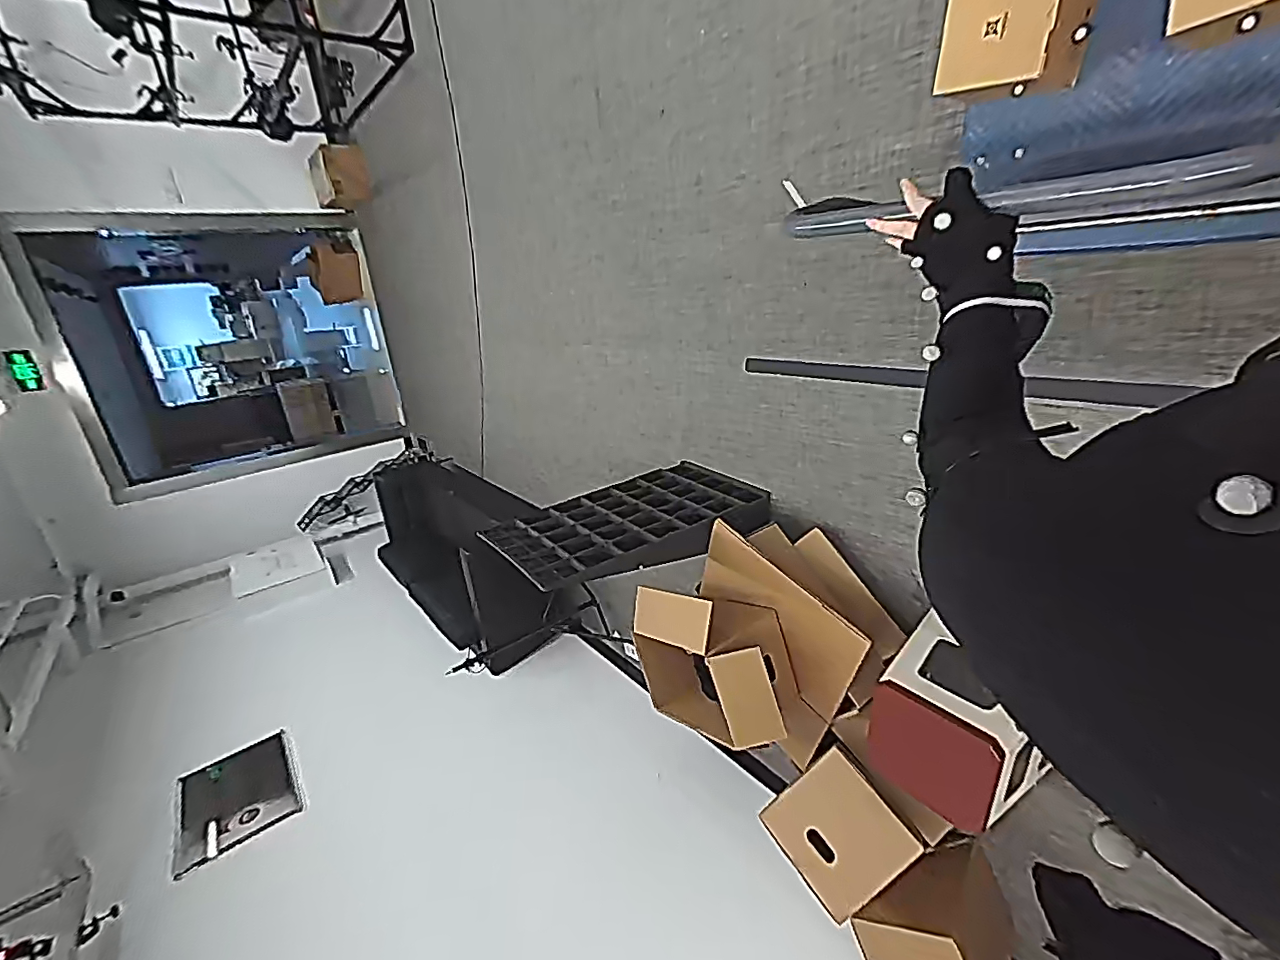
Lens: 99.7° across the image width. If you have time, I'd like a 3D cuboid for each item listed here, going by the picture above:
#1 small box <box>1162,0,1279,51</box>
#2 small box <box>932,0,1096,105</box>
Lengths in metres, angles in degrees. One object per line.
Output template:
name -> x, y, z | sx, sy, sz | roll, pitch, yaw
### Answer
small box -> 0.843, -0.707, 0.716 | 0.179, 0.176, 0.168 | 16, 120, 51
small box -> 0.654, -0.776, 0.949 | 0.179, 0.176, 0.168 | 26, 126, 44
